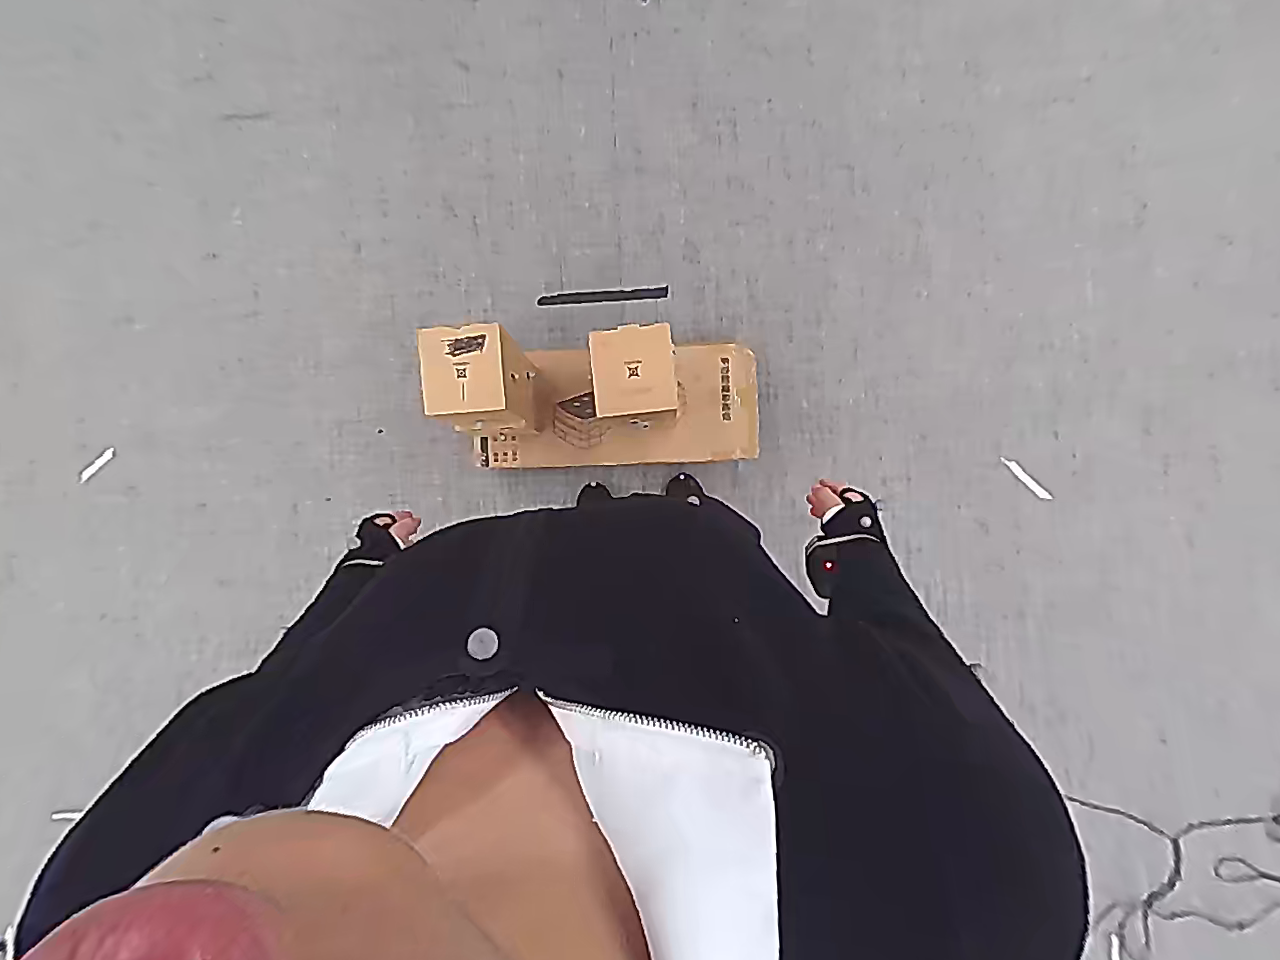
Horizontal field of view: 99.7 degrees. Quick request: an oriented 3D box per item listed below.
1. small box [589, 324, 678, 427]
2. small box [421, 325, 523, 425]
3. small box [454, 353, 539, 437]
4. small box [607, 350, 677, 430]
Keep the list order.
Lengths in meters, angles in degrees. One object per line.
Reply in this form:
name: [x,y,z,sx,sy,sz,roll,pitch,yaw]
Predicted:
small box: [-0.011,-0.216,1.150,0.168,0.176,0.179,-7,90,3]
small box: [-0.352,-0.218,1.157,0.168,0.176,0.179,-4,90,1]
small box: [-0.346,-0.202,1.320,0.168,0.176,0.179,-2,90,1]
small box: [0.003,-0.215,1.313,0.168,0.176,0.179,-5,90,2]
